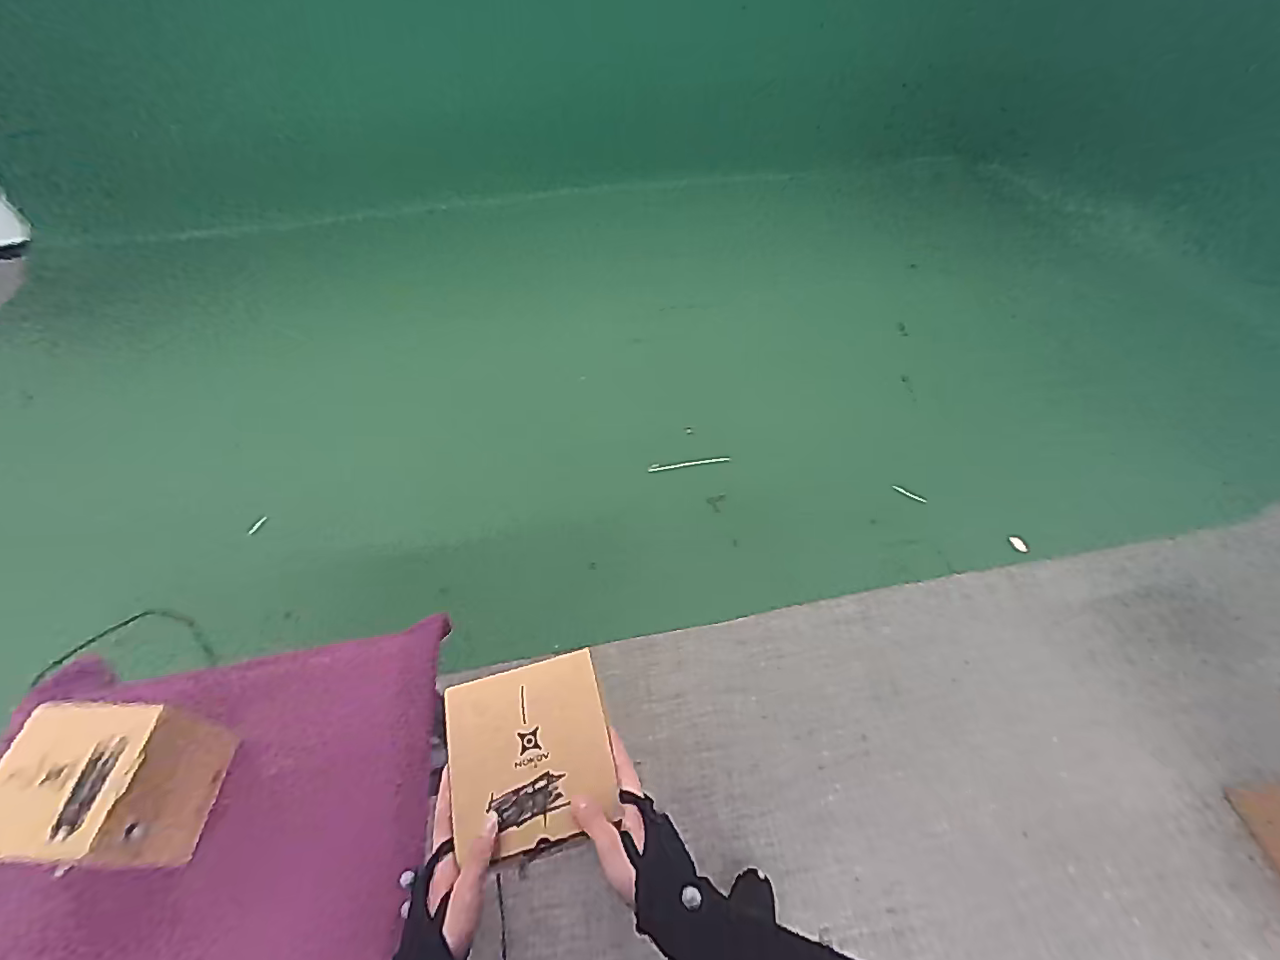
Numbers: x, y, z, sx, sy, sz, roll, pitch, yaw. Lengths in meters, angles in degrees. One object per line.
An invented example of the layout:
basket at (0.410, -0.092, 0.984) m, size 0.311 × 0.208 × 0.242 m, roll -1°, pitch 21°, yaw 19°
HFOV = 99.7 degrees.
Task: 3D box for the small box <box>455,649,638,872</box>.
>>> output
small box at (-0.101, 0.322, 0.621) m, size 0.168 × 0.176 × 0.179 m, roll -13°, pitch 55°, yaw -7°
